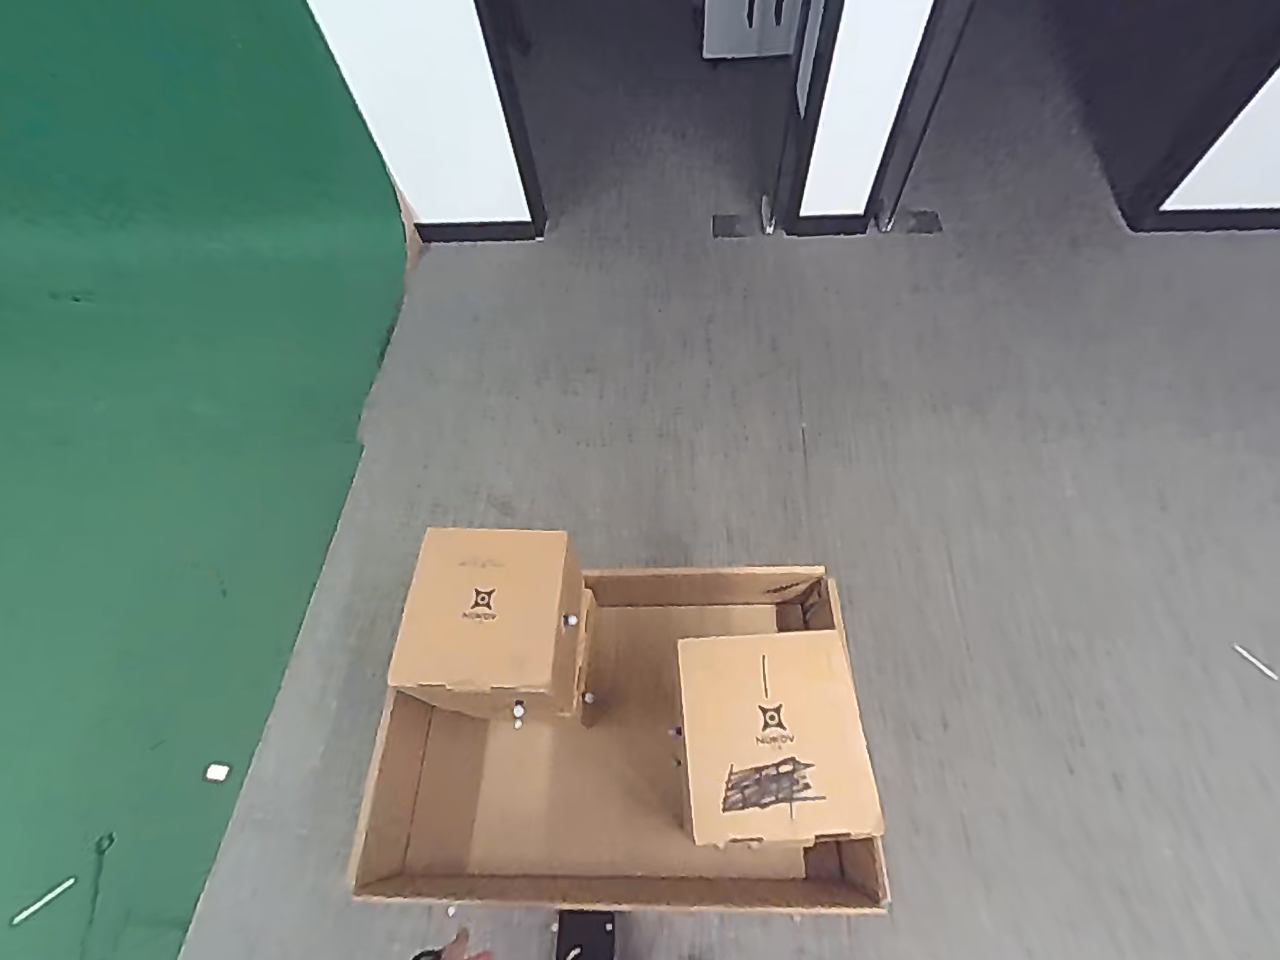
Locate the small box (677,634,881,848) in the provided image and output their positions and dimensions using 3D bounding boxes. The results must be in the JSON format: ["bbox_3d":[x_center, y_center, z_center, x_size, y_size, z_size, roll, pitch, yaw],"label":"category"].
[{"bbox_3d":[0.128,0.274,0.572,0.168,0.176,0.179,-4,60,1],"label":"small box"}]

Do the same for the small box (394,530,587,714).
[{"bbox_3d":[-0.159,0.175,0.646,0.168,0.176,0.179,2,60,3],"label":"small box"}]
